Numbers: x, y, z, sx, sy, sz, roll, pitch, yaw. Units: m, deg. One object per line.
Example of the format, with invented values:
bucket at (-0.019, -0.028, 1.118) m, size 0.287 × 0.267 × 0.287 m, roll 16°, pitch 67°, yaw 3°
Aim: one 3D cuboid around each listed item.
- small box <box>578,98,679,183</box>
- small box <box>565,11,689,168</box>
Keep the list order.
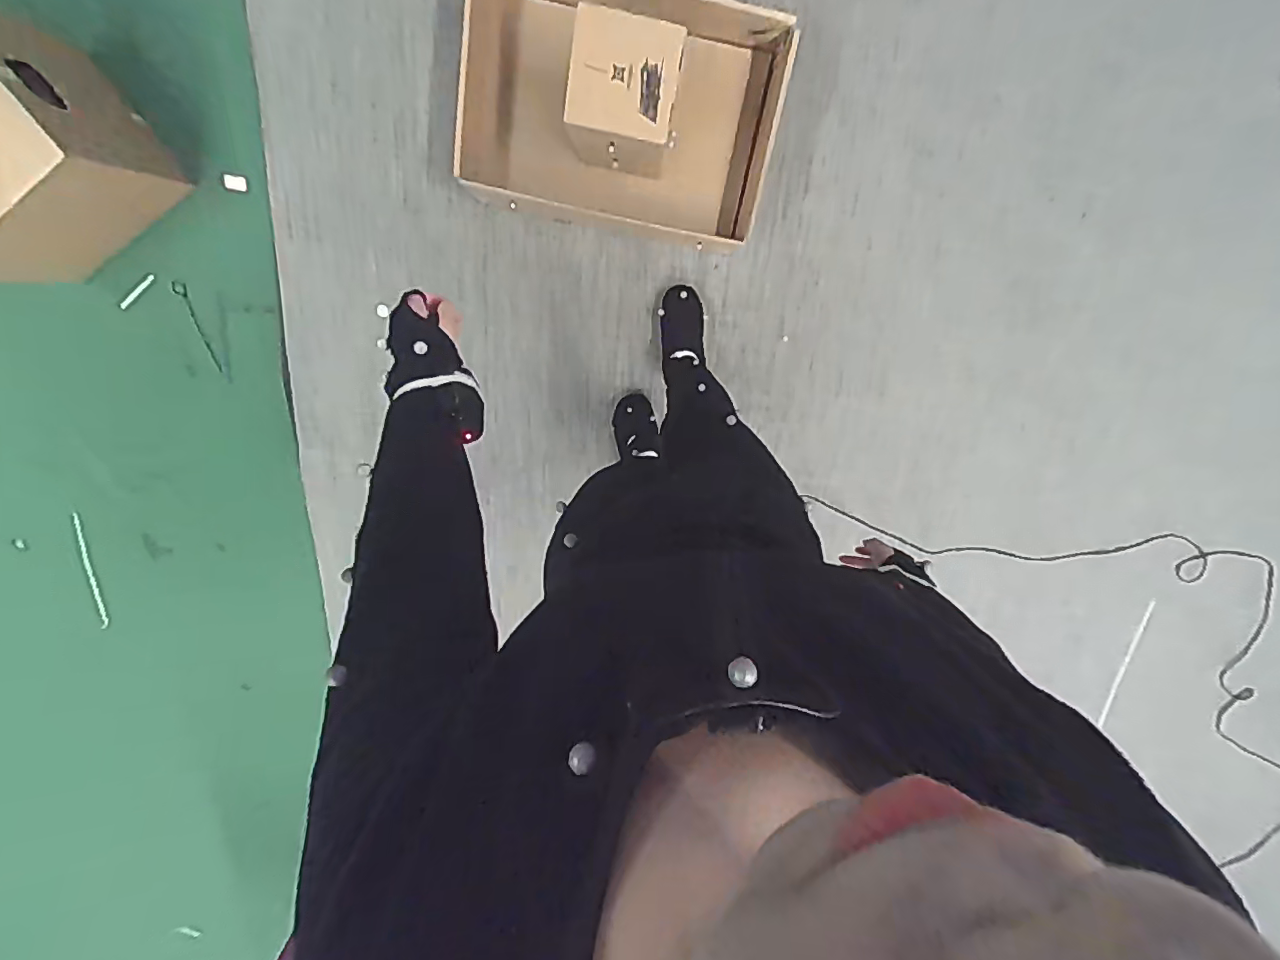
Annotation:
small box at (-0.022, -0.721, 1.101) m, size 0.179 × 0.176 × 0.168 m, roll 10°, pitch 110°, yaw -4°
small box at (-0.023, -0.665, 0.946) m, size 0.179 × 0.176 × 0.168 m, roll 11°, pitch 109°, yaw -3°
